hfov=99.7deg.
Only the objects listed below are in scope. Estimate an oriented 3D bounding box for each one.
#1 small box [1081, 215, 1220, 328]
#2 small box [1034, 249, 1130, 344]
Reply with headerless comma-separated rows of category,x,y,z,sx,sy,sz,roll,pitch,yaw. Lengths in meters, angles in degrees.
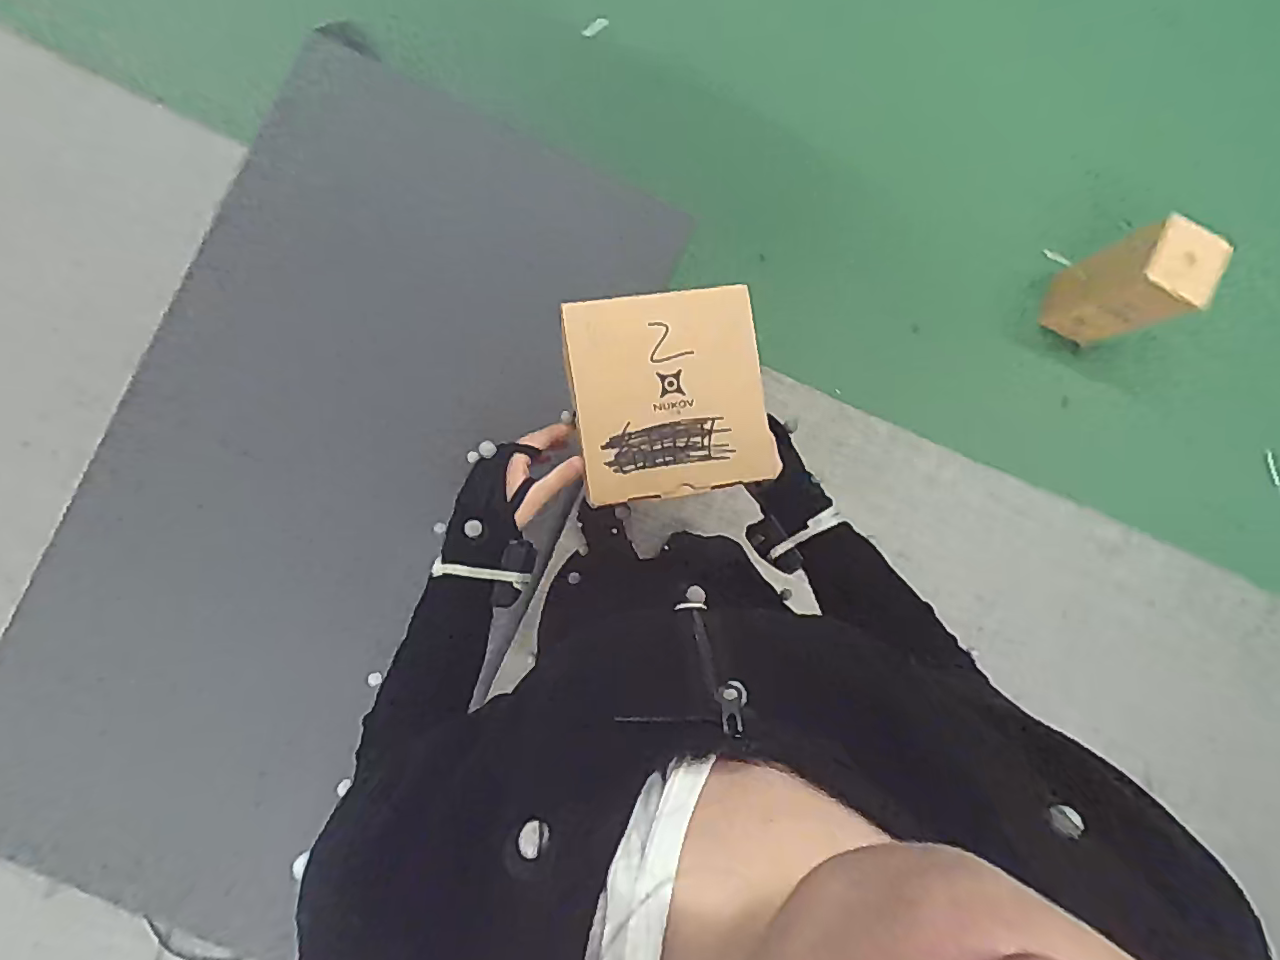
small box,1.275,-0.516,1.364,0.168,0.176,0.179,26,87,-2
small box,1.267,-0.509,1.529,0.168,0.176,0.179,23,86,-2
